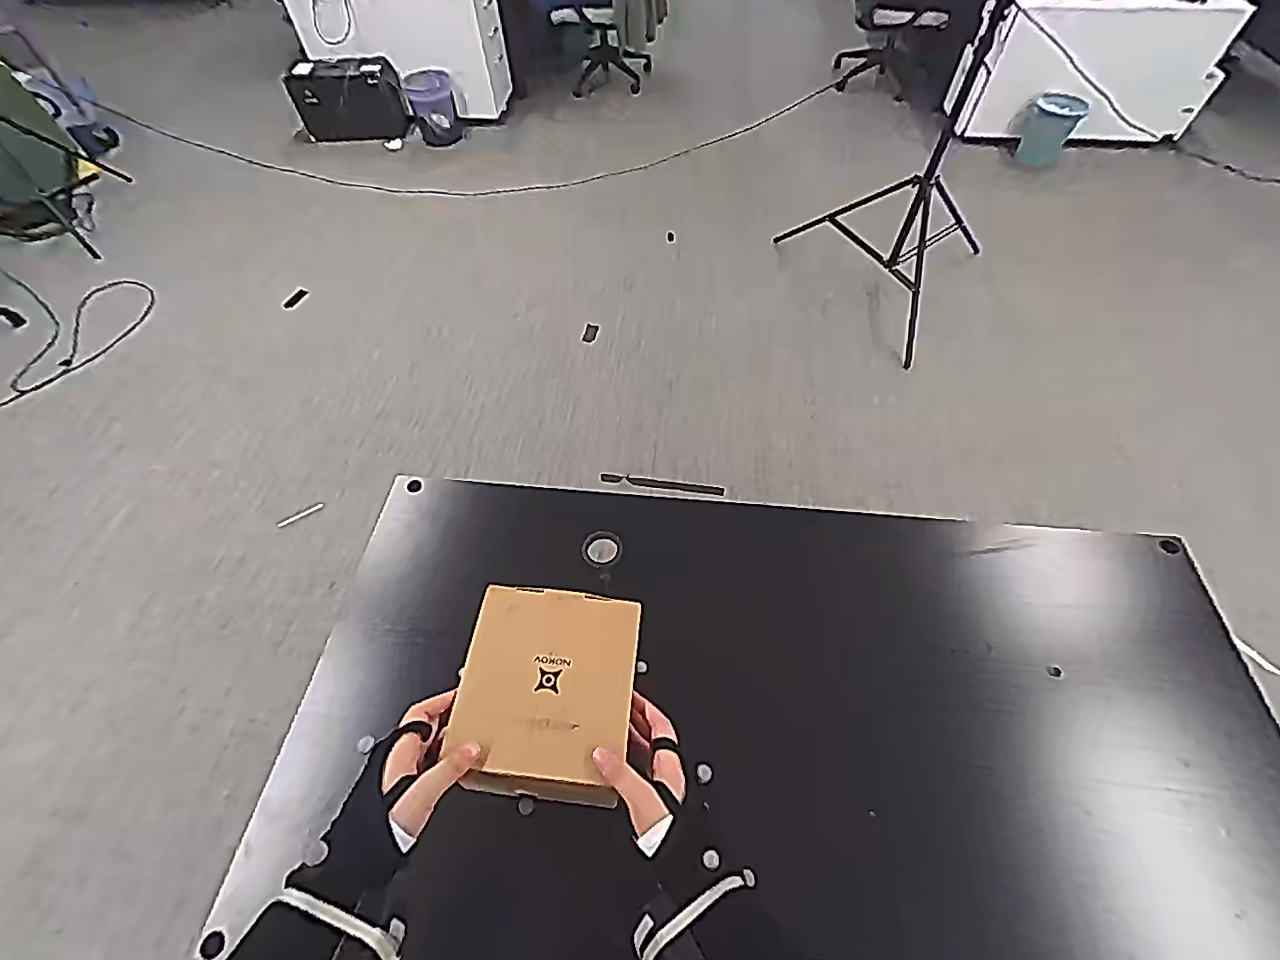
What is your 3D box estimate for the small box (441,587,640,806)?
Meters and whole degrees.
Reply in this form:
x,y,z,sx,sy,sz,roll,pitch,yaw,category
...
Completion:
x,y,z,sx,sy,sz,roll,pitch,yaw,category
-0.094,0.239,0.589,0.168,0.176,0.179,6,54,0,small box
